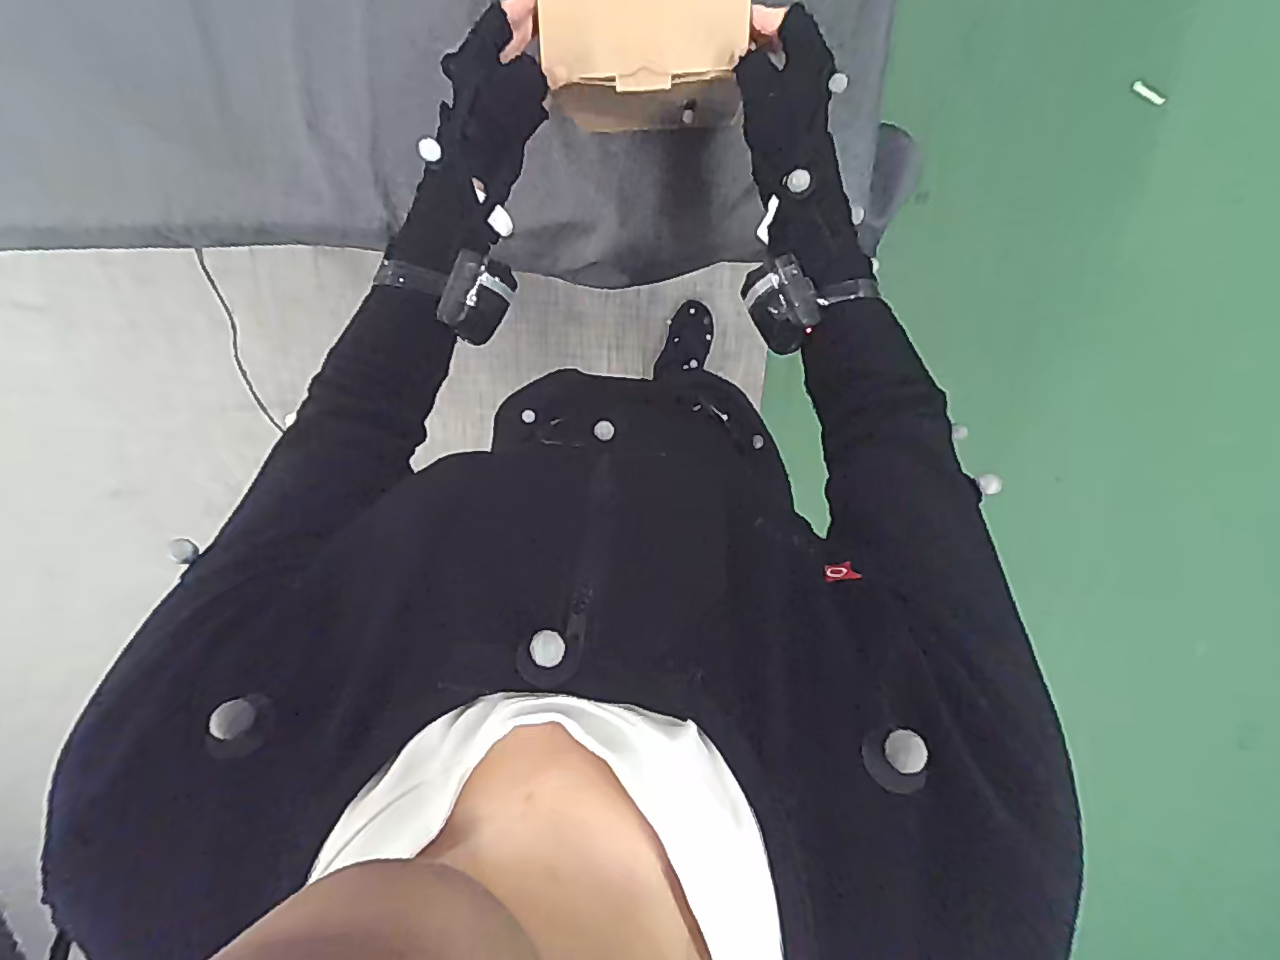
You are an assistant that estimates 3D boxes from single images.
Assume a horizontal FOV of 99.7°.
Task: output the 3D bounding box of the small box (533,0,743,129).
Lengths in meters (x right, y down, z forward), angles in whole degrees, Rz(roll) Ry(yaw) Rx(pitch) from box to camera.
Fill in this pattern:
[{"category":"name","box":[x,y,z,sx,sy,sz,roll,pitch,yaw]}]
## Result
[{"category":"small box","box":[0.006,-0.428,0.476,0.168,0.176,0.179,1,109,6]}]
